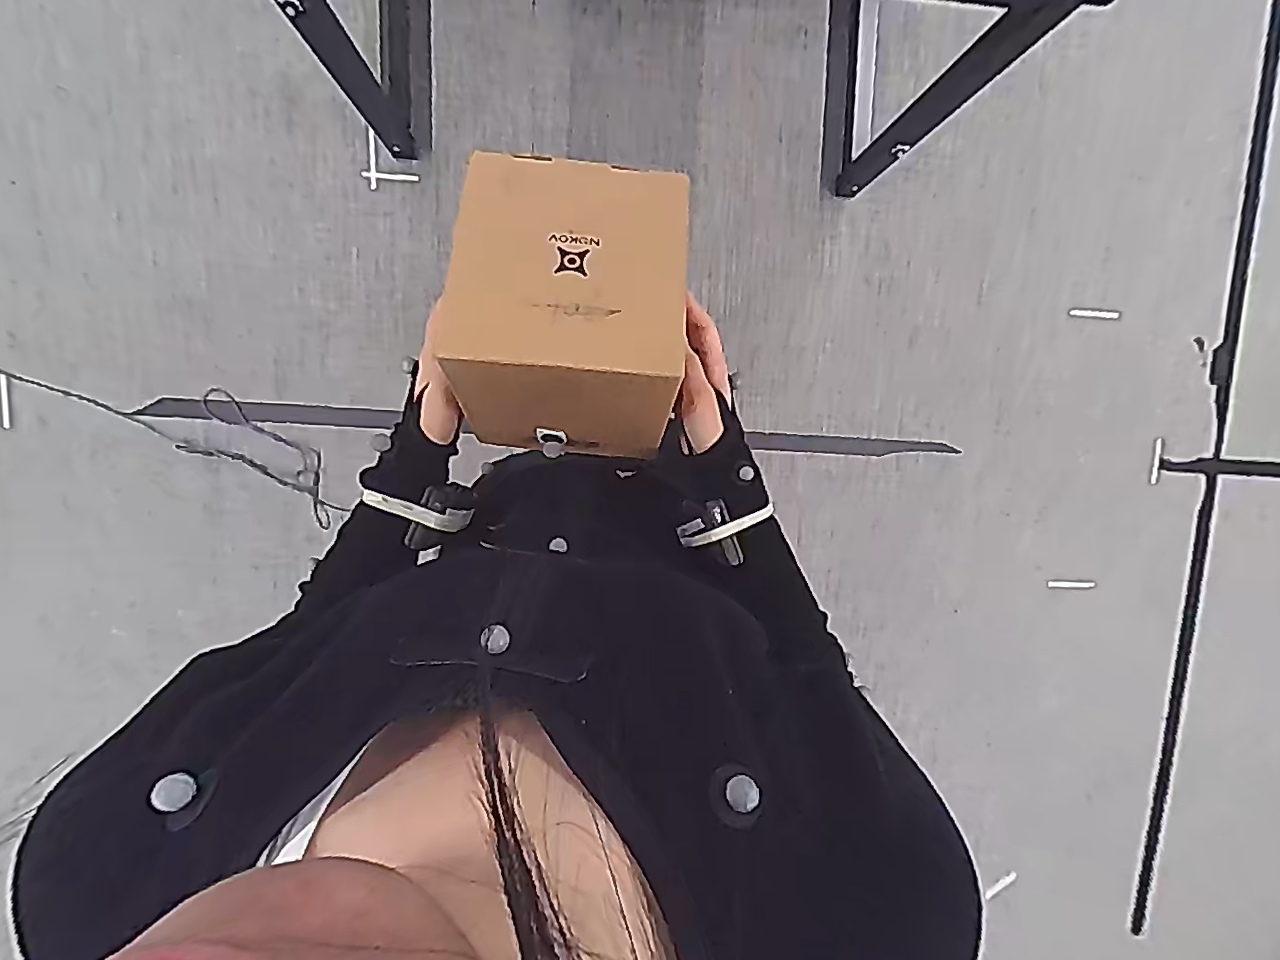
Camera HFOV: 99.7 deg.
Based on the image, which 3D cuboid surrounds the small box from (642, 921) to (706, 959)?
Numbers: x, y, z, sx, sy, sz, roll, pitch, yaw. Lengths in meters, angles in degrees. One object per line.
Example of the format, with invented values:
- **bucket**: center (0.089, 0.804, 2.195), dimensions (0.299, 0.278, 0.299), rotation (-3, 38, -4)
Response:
- **small box**: center (0.112, 1.463, 1.602), dimensions (0.179, 0.176, 0.168), rotation (-10, 98, -5)

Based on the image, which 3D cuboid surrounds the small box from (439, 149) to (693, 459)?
- **small box**: center (-0.053, -0.131, 0.454), dimensions (0.168, 0.176, 0.179), rotation (4, 73, -4)

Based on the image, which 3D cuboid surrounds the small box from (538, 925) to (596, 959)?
- **small box**: center (-0.215, 1.445, 1.565), dimensions (0.168, 0.176, 0.179), rotation (5, 96, -7)
